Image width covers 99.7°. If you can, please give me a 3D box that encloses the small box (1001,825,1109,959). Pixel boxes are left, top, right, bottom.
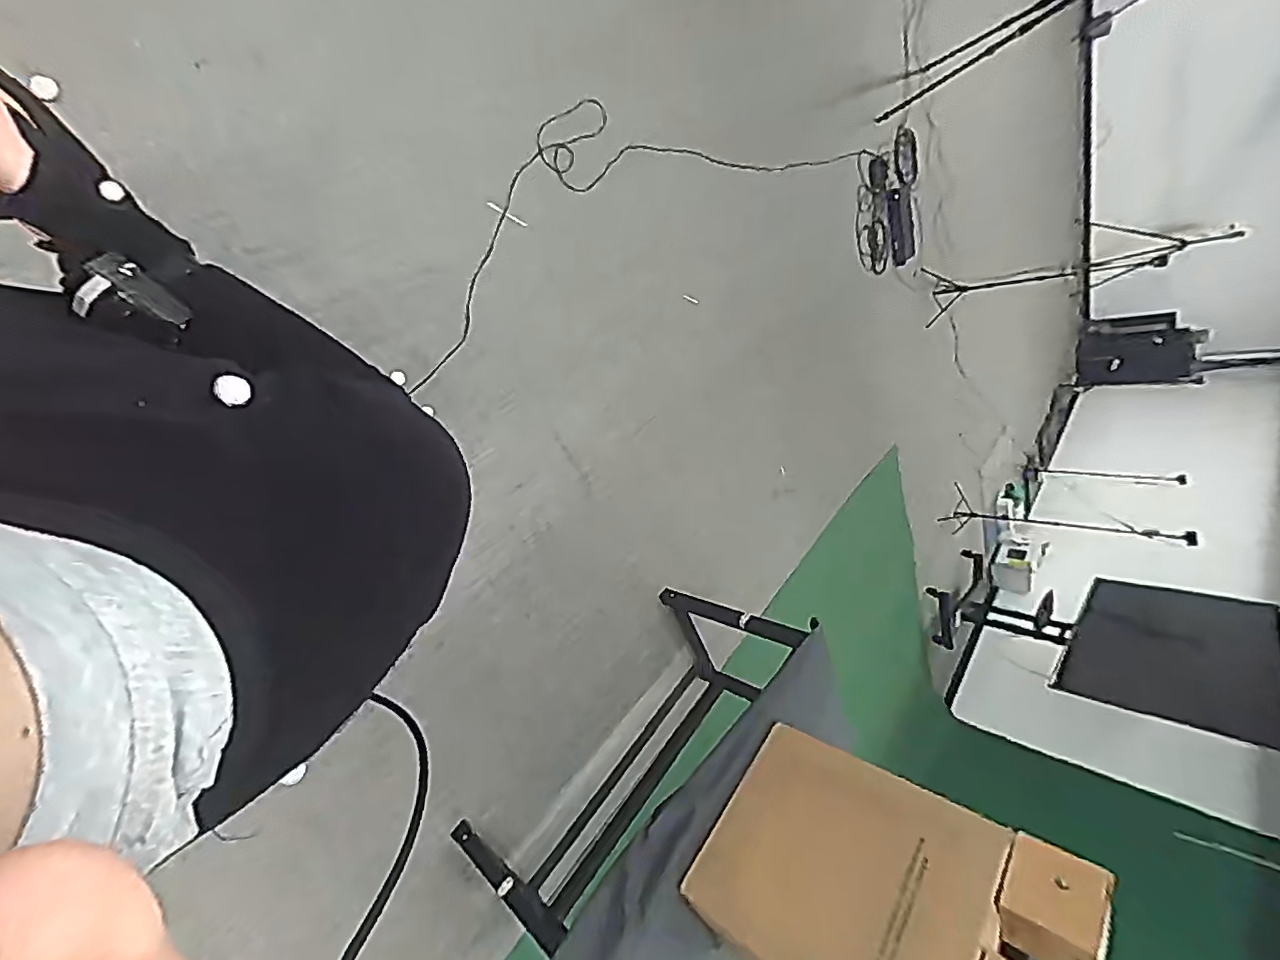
[{"bbox_3d":[0.908,0.910,1.186,0.179,0.176,0.168,-41,120,-35],"label":"small box"}]

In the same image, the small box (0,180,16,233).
[{"bbox_3d":[-0.476,-0.216,0.264,0.168,0.176,0.179,-24,120,-33],"label":"small box"}]
